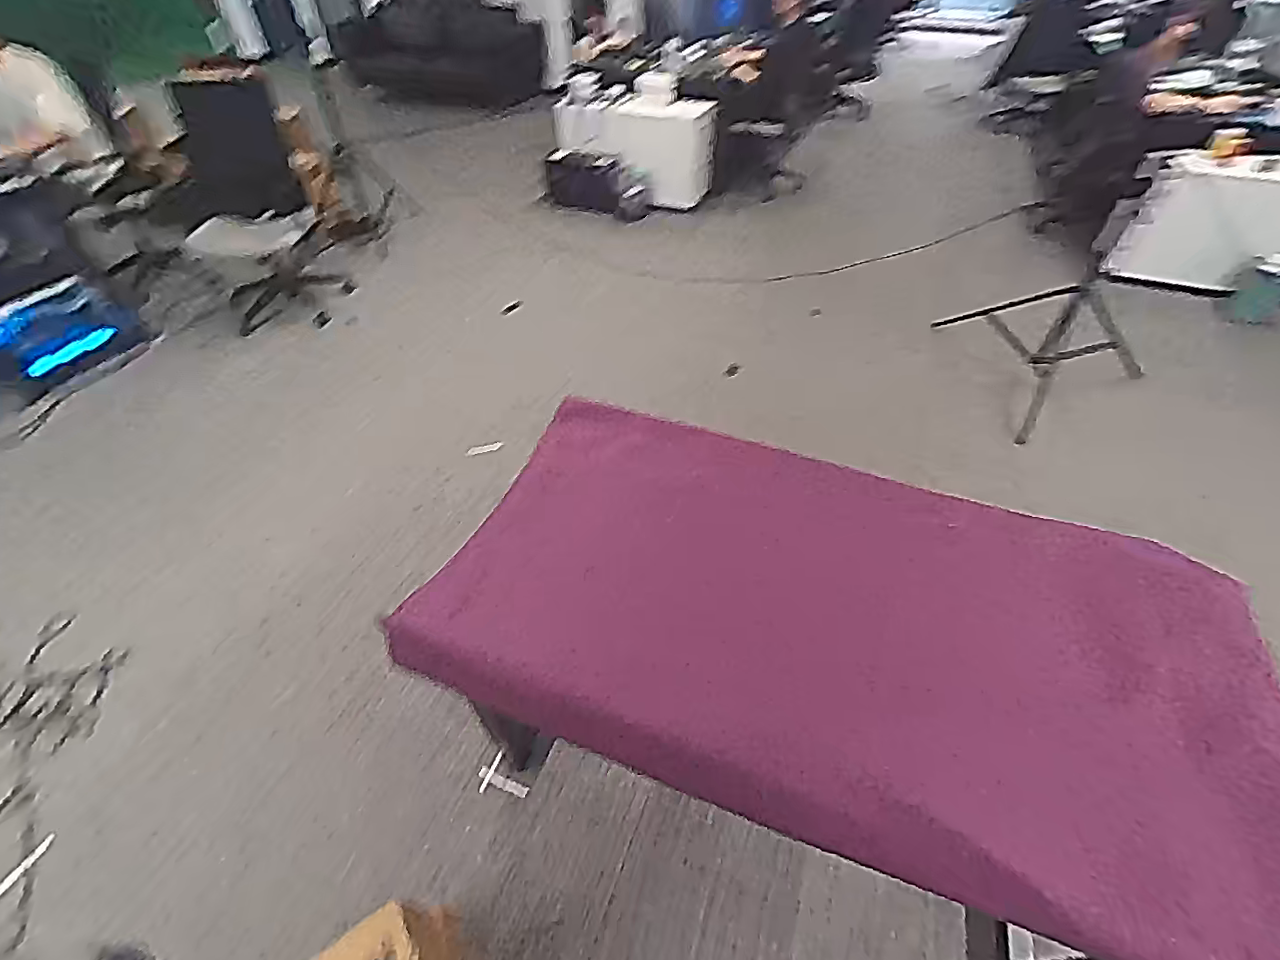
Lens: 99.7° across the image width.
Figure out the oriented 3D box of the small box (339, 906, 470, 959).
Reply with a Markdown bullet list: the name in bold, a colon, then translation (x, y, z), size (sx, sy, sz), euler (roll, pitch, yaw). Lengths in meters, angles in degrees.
- **small box**: translation (-0.384, 0.863, 0.915), size (0.179, 0.176, 0.168), euler (-17, 48, -16)
